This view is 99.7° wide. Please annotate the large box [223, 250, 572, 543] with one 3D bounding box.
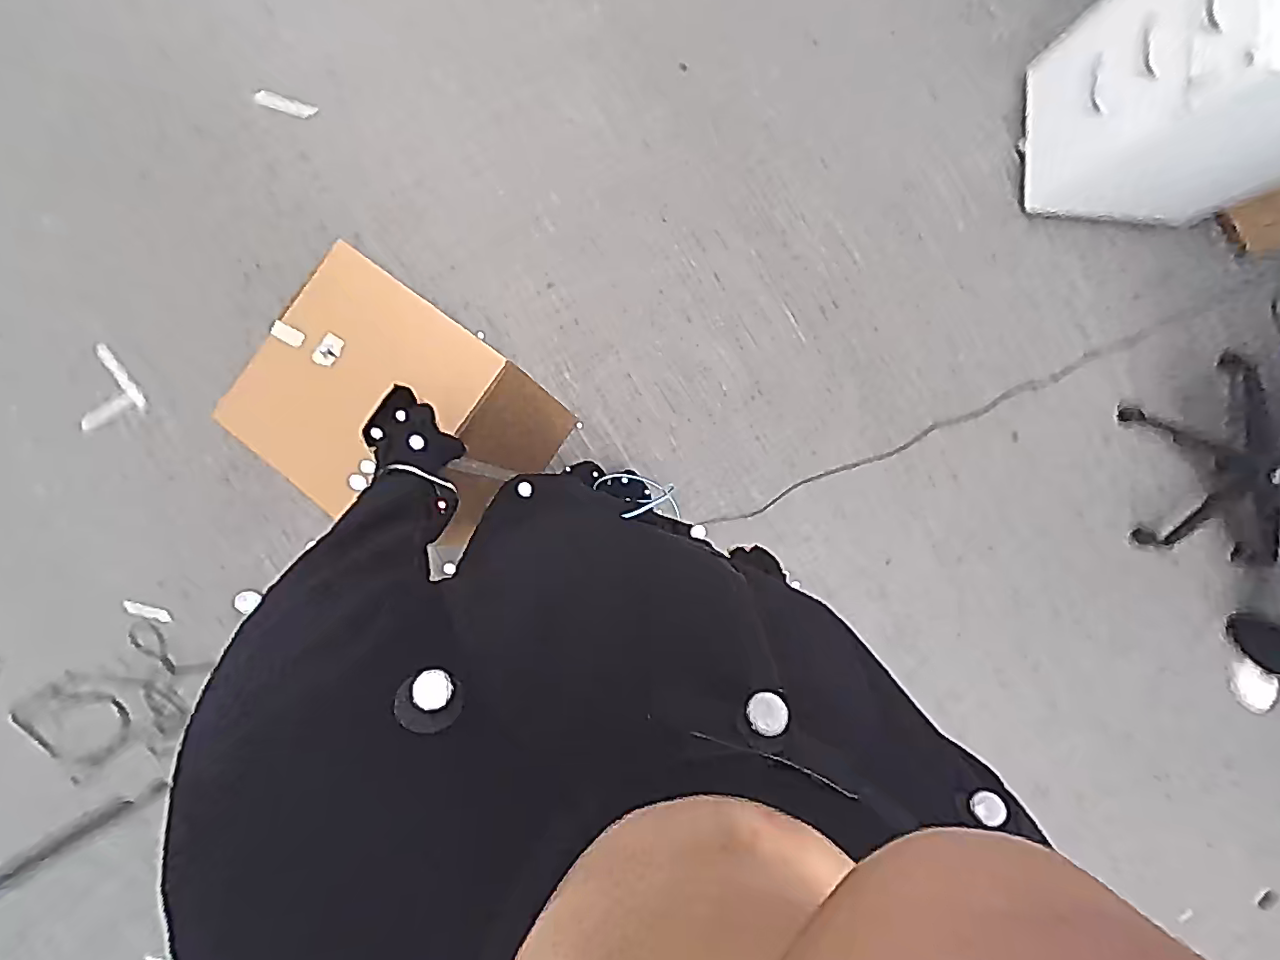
[{"bbox_3d":[-0.373,-0.115,0.939,0.320,0.408,0.320,37,91,7],"label":"large box"}]
